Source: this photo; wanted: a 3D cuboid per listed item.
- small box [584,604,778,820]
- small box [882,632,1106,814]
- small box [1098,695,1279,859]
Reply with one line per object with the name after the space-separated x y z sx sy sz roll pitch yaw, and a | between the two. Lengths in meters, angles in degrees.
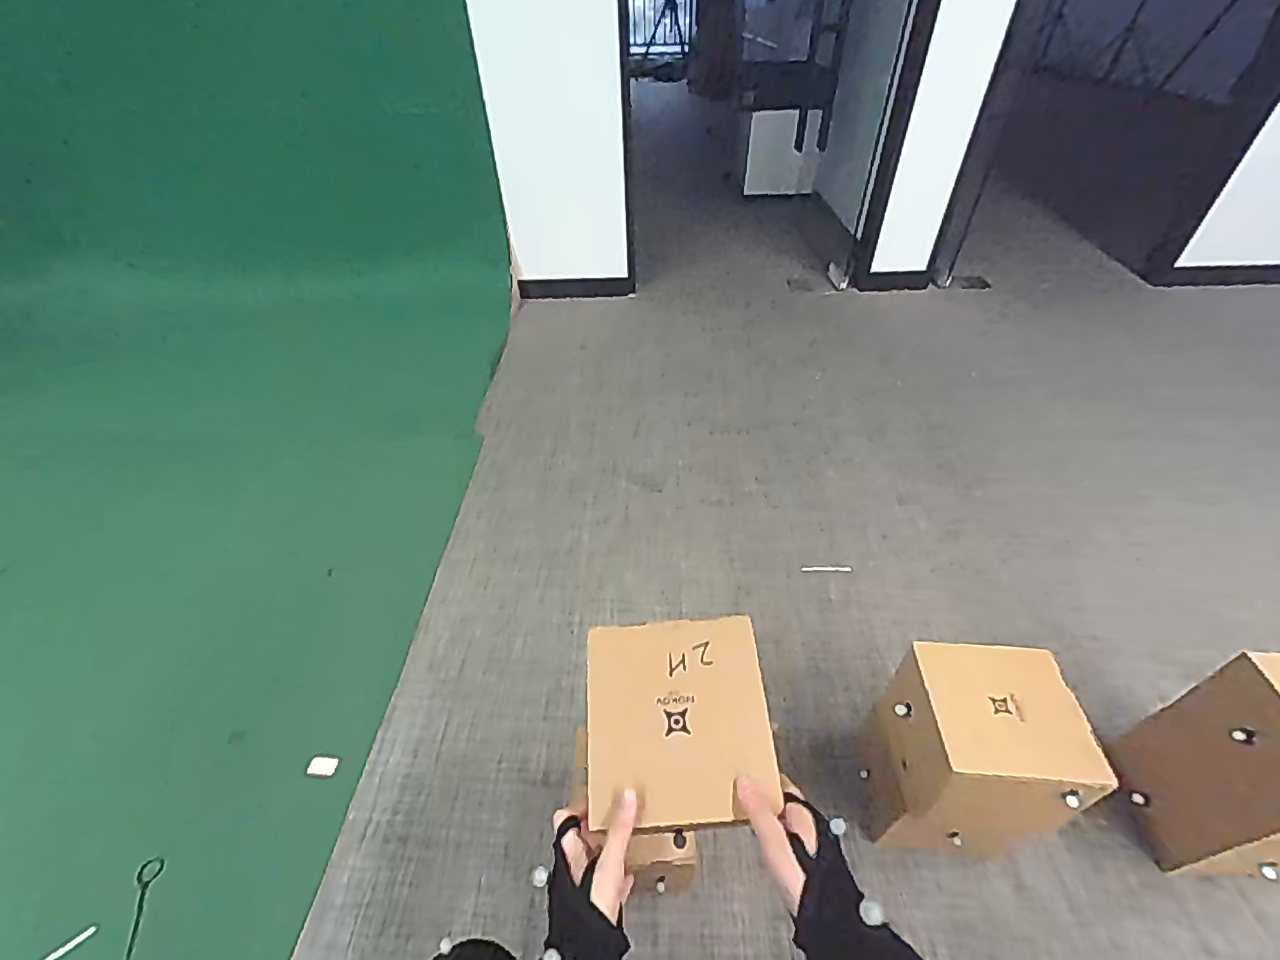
0.035 0.245 0.560 0.168 0.176 0.179 -5 56 0 | small box
0.436 0.319 0.710 0.179 0.176 0.168 2 43 5 | small box
0.847 0.441 0.800 0.168 0.176 0.179 1 44 3 | small box
